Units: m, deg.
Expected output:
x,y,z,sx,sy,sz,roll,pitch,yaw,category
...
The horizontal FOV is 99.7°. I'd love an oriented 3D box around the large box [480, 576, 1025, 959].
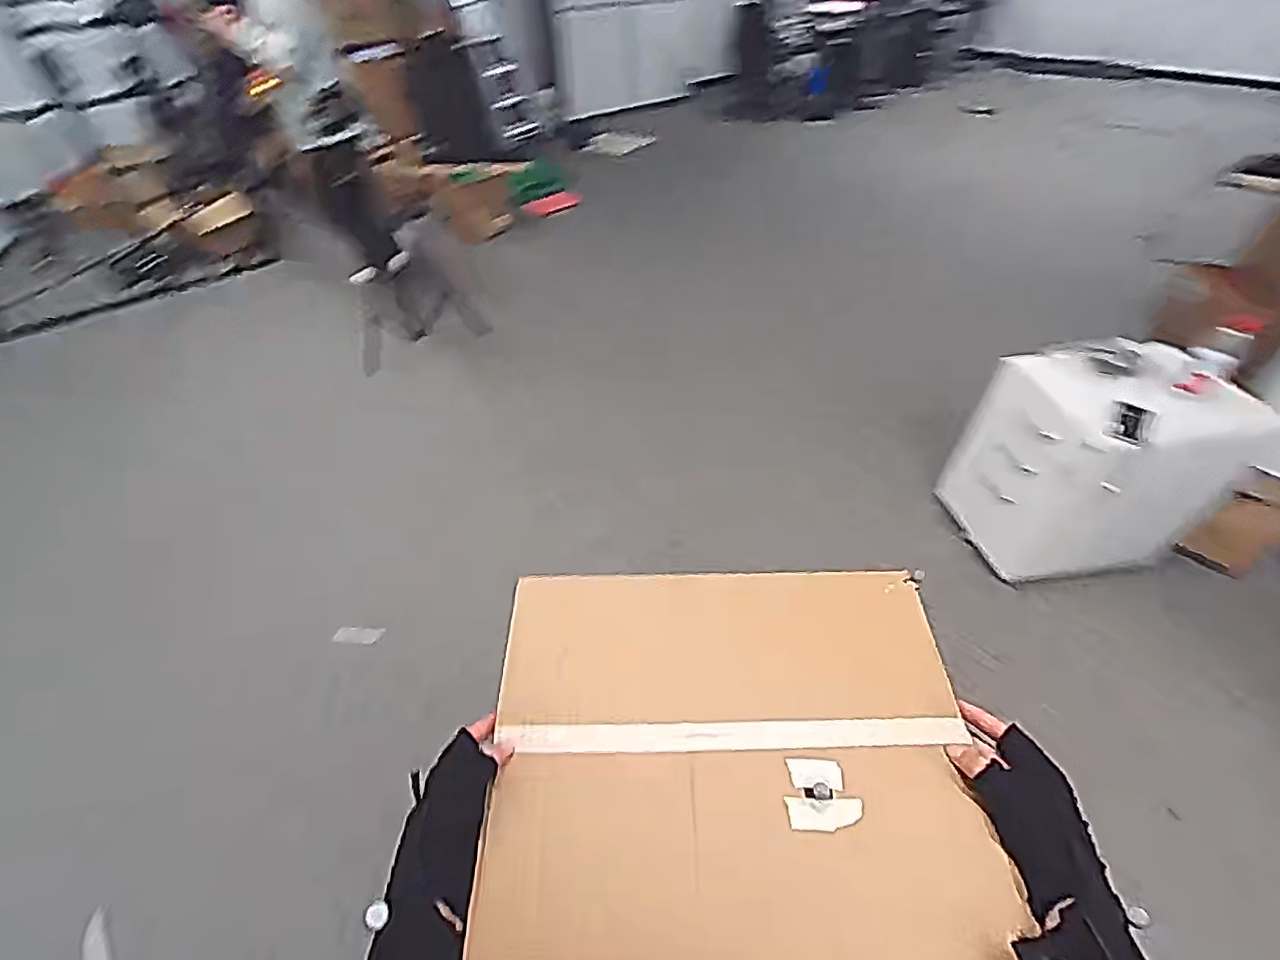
x,y,z,sx,sy,sz,roll,pitch,yaw,category
0.074,0.324,0.590,0.408,0.320,0.320,-2,52,-1,large box
